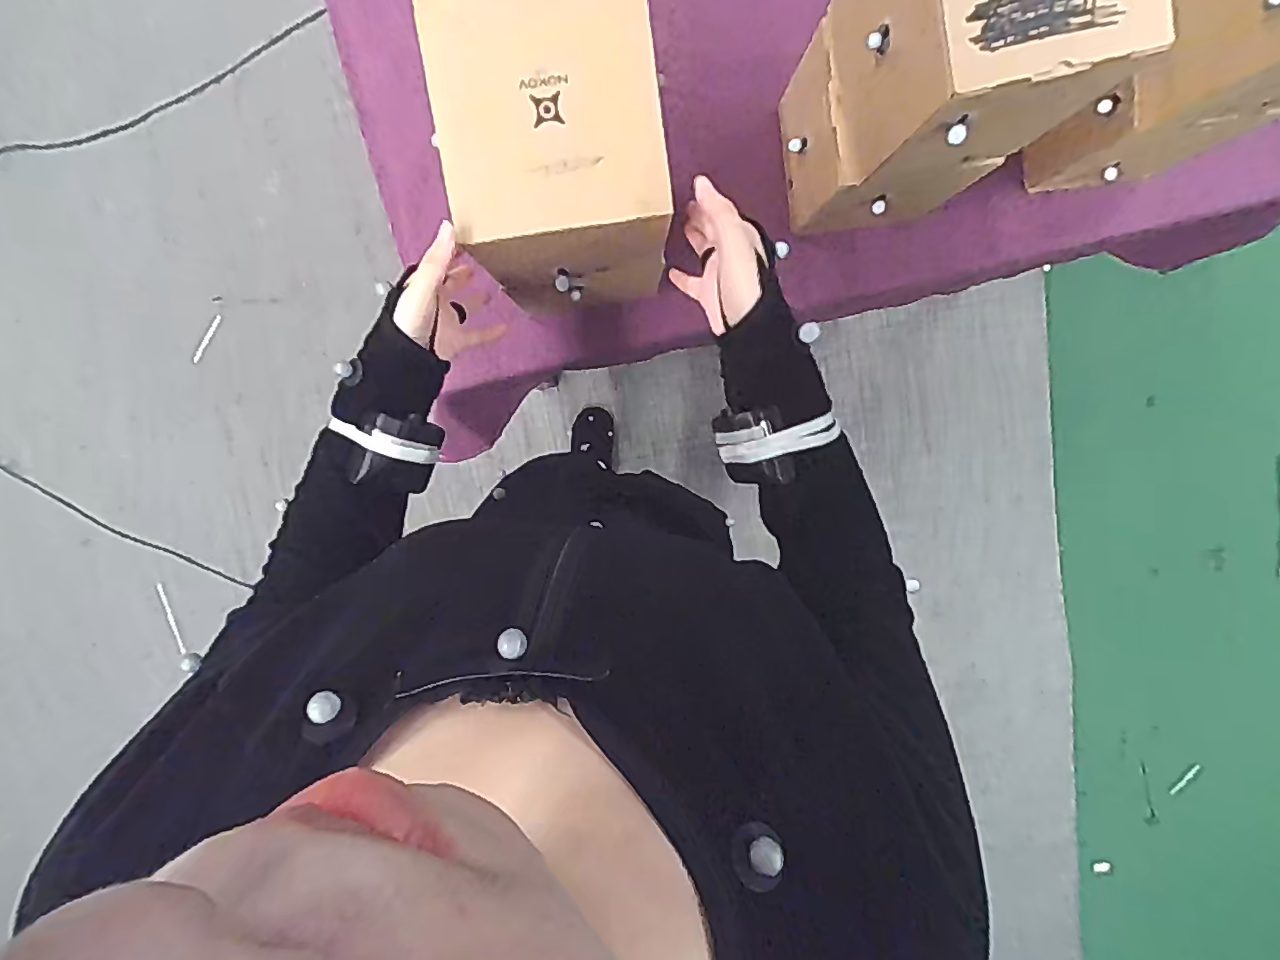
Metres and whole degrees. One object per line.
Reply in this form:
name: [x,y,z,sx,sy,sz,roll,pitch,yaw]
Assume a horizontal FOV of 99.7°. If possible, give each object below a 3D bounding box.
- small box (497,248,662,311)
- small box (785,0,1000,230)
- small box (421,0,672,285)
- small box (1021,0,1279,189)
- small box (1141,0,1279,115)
small box: [-0.075,-0.305,0.635,0.179,0.176,0.168,-9,98,-1]
small box: [0.276,-0.409,0.631,0.179,0.176,0.168,-8,98,0]
small box: [-0.069,-0.287,0.473,0.168,0.176,0.179,-8,98,0]
small box: [0.581,-0.472,0.631,0.168,0.176,0.179,-8,99,0]
small box: [0.587,-0.449,0.468,0.168,0.176,0.179,-9,98,-1]
